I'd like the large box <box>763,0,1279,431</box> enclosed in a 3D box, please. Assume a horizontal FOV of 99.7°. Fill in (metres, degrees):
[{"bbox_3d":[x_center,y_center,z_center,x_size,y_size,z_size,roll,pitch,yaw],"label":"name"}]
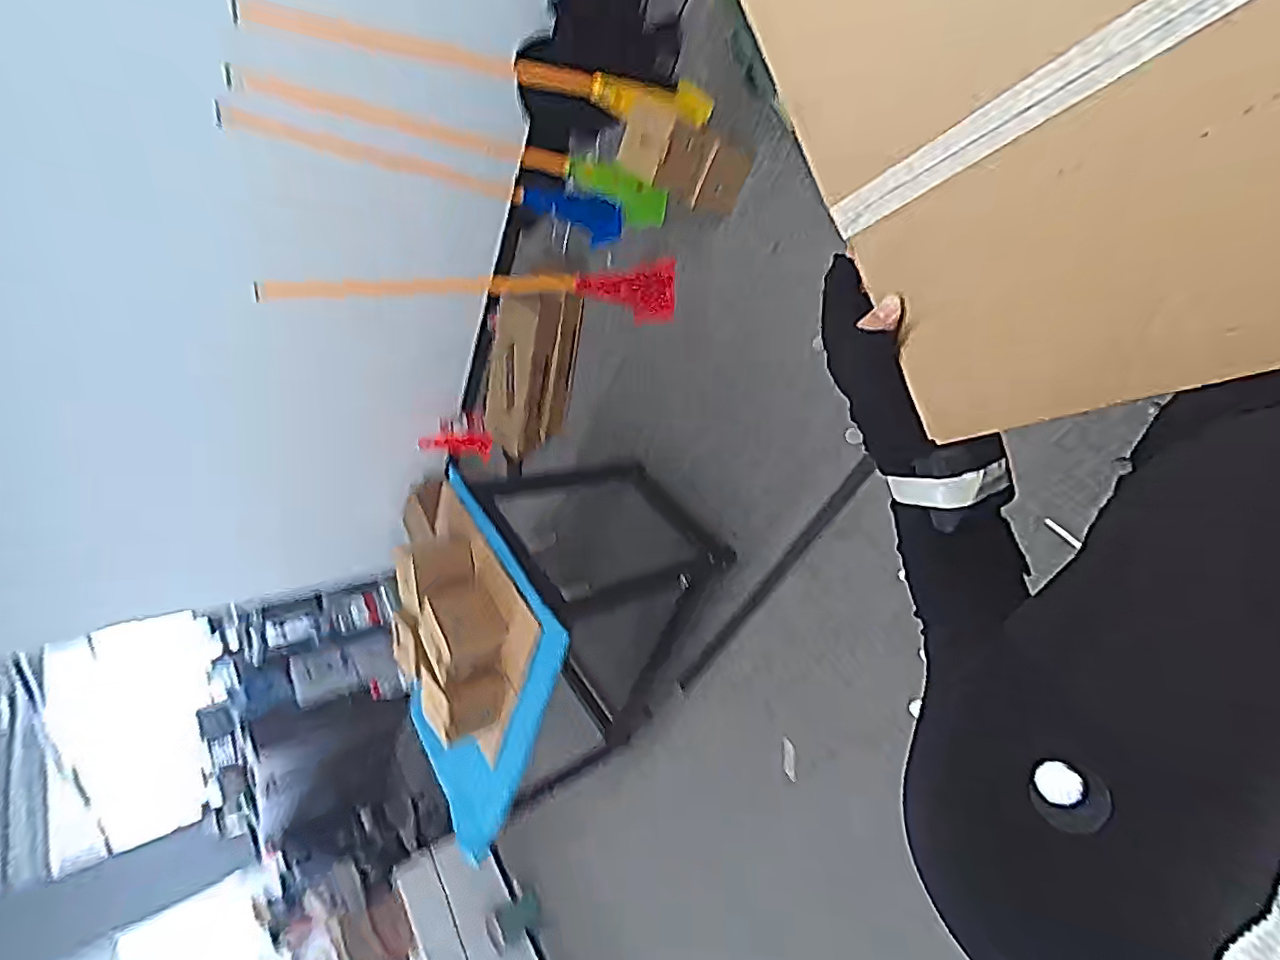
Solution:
[{"bbox_3d":[0.352,-0.265,0.282,0.408,0.320,0.320,-16,105,51],"label":"large box"}]
